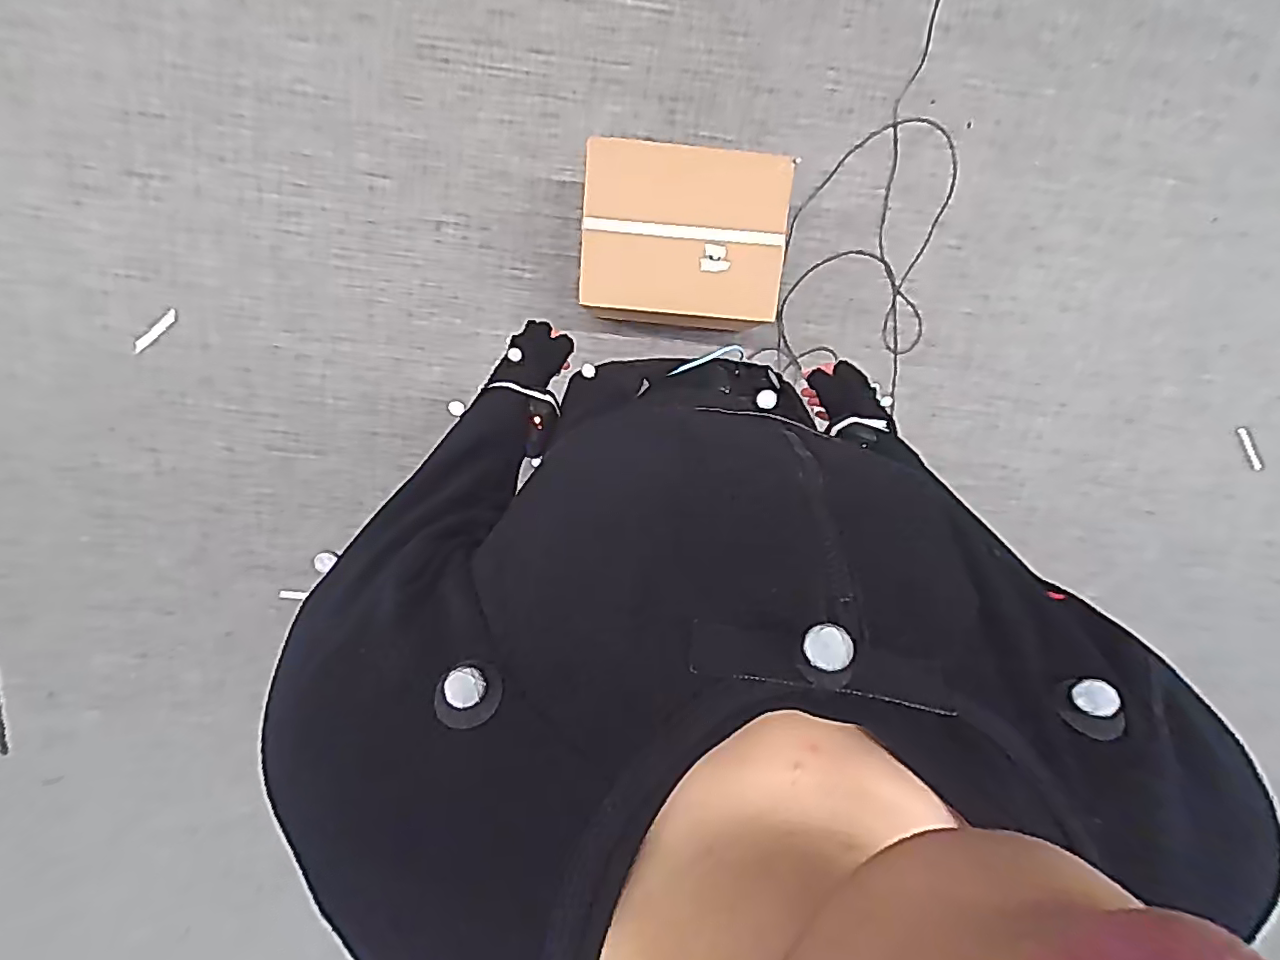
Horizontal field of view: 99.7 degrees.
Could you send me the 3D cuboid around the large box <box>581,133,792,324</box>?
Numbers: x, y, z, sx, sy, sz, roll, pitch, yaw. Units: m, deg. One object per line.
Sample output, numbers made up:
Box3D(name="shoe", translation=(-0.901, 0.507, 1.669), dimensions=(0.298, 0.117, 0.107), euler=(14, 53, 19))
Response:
Box3D(name="large box", translation=(0.083, -0.536, 1.221), dimensions=(0.408, 0.320, 0.320), euler=(5, 103, -2))
